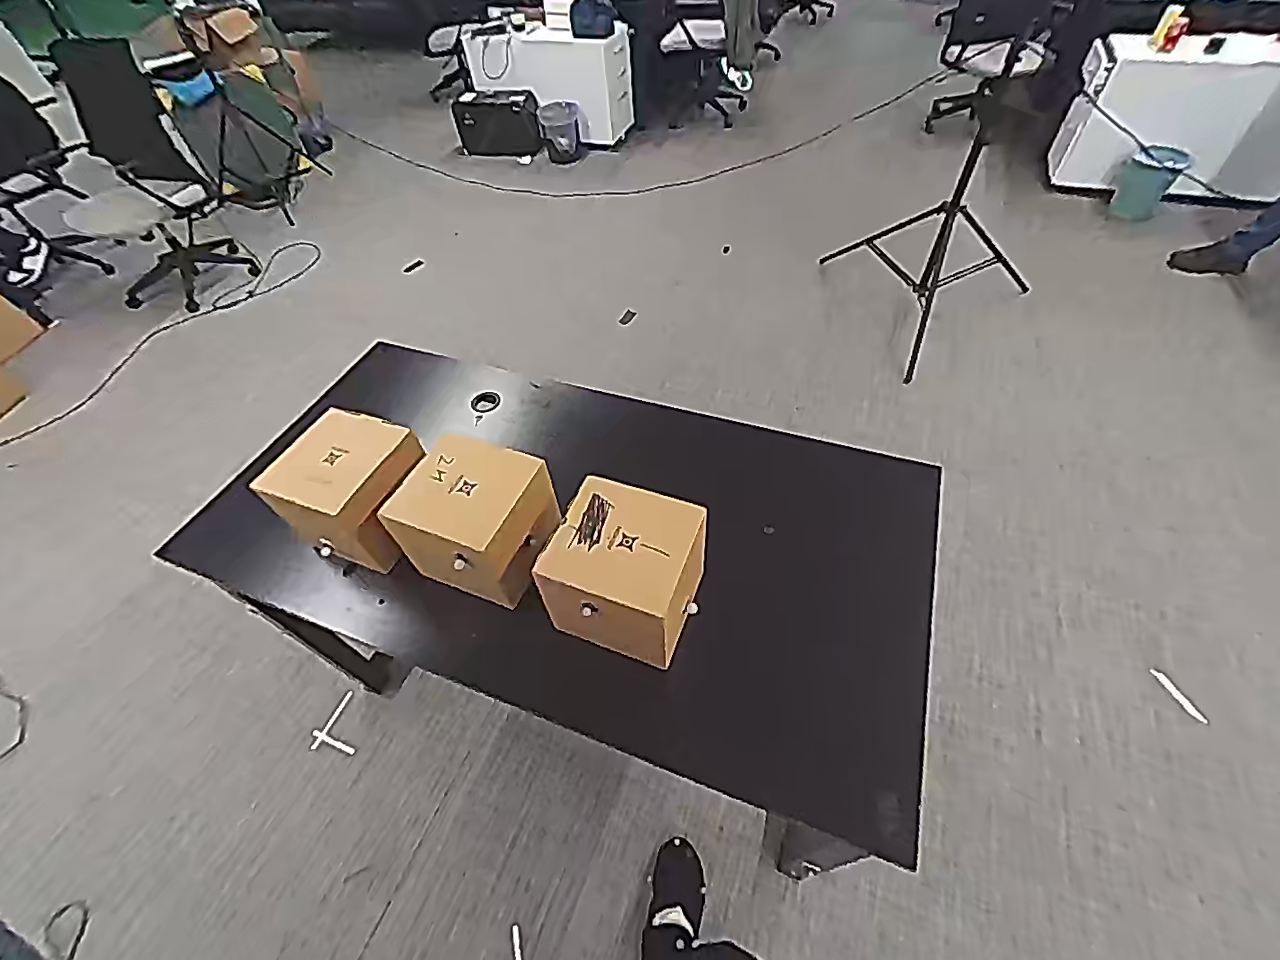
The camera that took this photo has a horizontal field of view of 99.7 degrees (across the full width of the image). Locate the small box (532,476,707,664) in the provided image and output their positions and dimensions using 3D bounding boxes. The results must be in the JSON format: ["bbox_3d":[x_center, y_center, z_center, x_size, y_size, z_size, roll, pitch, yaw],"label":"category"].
[{"bbox_3d":[-0.018,0.126,0.737,0.179,0.176,0.168,16,54,16],"label":"small box"}]

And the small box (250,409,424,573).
[{"bbox_3d":[-0.449,0.018,0.860,0.168,0.176,0.179,14,54,17],"label":"small box"}]

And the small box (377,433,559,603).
[{"bbox_3d":[-0.239,0.061,0.807,0.179,0.176,0.168,16,54,17],"label":"small box"}]
